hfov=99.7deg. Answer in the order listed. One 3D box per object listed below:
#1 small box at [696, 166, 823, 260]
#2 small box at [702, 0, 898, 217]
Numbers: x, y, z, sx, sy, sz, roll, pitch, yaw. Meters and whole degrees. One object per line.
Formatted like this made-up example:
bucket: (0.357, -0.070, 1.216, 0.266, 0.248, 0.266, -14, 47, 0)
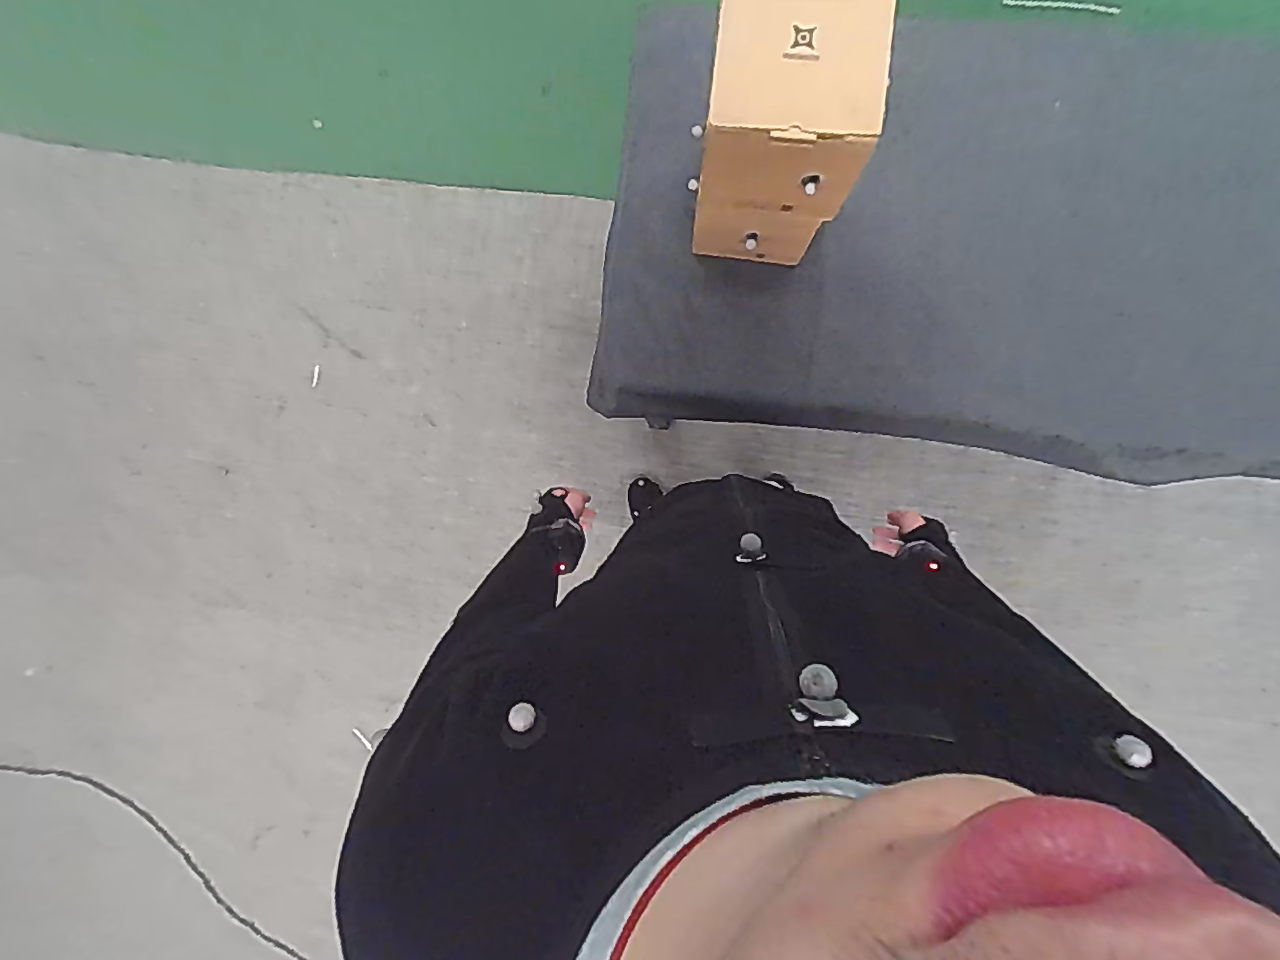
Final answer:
small box: (0.171, -0.428, 0.755, 0.168, 0.176, 0.179, 8, 91, 3)
small box: (0.161, -0.414, 0.592, 0.168, 0.176, 0.179, 6, 89, 2)
